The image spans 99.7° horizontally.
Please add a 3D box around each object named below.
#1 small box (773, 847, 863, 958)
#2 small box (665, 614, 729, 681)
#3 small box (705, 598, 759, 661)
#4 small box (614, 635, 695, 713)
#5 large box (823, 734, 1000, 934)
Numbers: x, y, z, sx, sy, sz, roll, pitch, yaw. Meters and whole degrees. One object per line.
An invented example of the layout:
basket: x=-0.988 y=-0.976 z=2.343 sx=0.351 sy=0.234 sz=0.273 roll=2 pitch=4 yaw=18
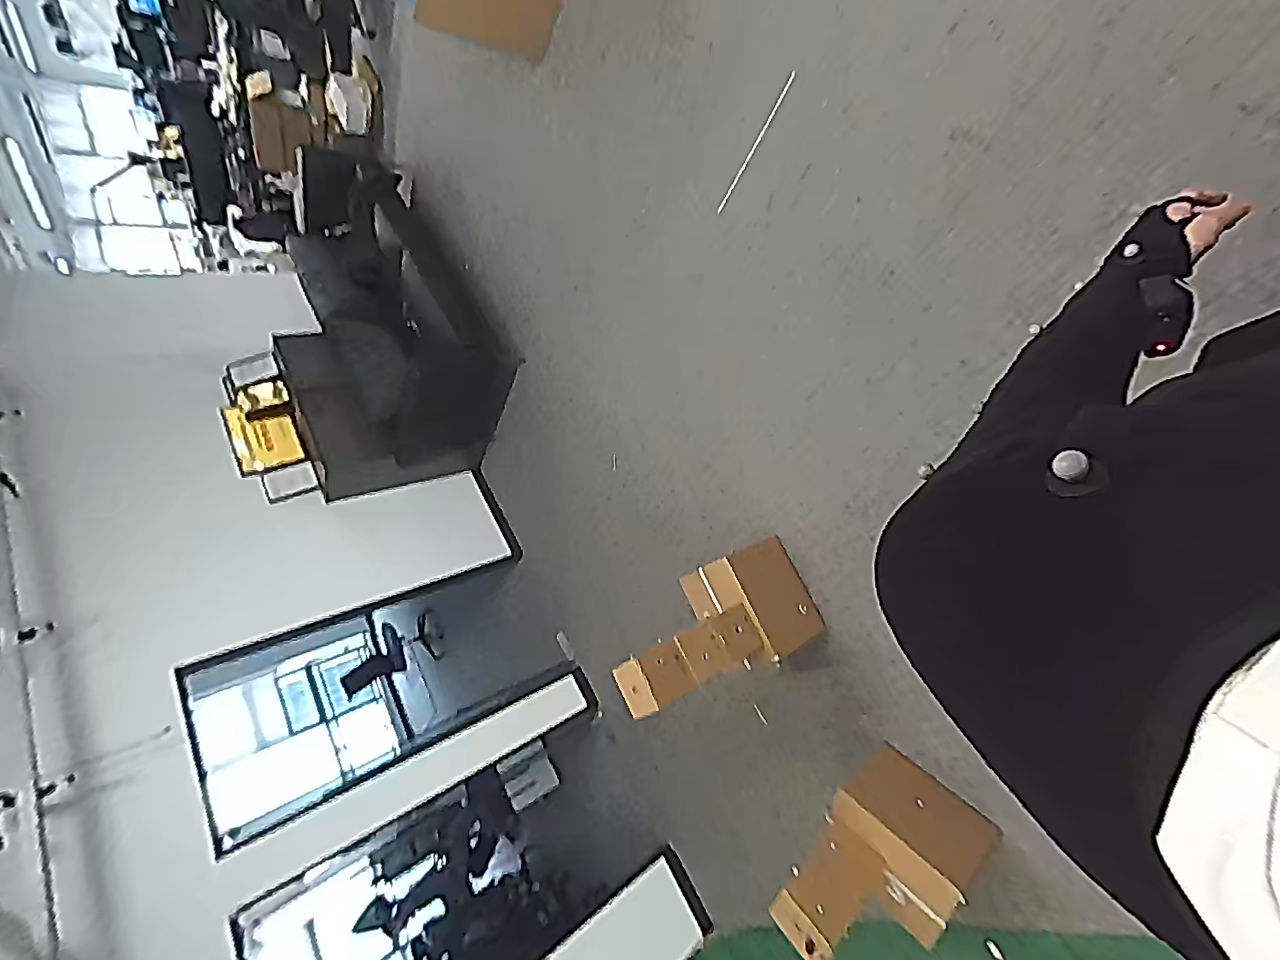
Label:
small box: x=0.542 y=1.275 z=1.642 sx=0.179 sy=0.176 sz=0.168 roll=37 pitch=130 yaw=37
small box: x=0.176 y=0.578 z=1.833 sx=0.168 sy=0.176 sz=0.179 roll=61 pitch=141 yaw=15
small box: x=0.299 y=0.544 z=1.934 sx=0.179 sy=0.176 sz=0.168 roll=-45 pitch=68 yaw=47
small box: x=0.052 y=0.620 z=1.737 sx=0.168 sy=0.176 sz=0.179 roll=61 pitch=142 yaw=16
large box: x=0.901 y=1.163 z=1.826 sx=0.408 sy=0.320 sz=0.320 roll=29 pitch=126 yaw=41
